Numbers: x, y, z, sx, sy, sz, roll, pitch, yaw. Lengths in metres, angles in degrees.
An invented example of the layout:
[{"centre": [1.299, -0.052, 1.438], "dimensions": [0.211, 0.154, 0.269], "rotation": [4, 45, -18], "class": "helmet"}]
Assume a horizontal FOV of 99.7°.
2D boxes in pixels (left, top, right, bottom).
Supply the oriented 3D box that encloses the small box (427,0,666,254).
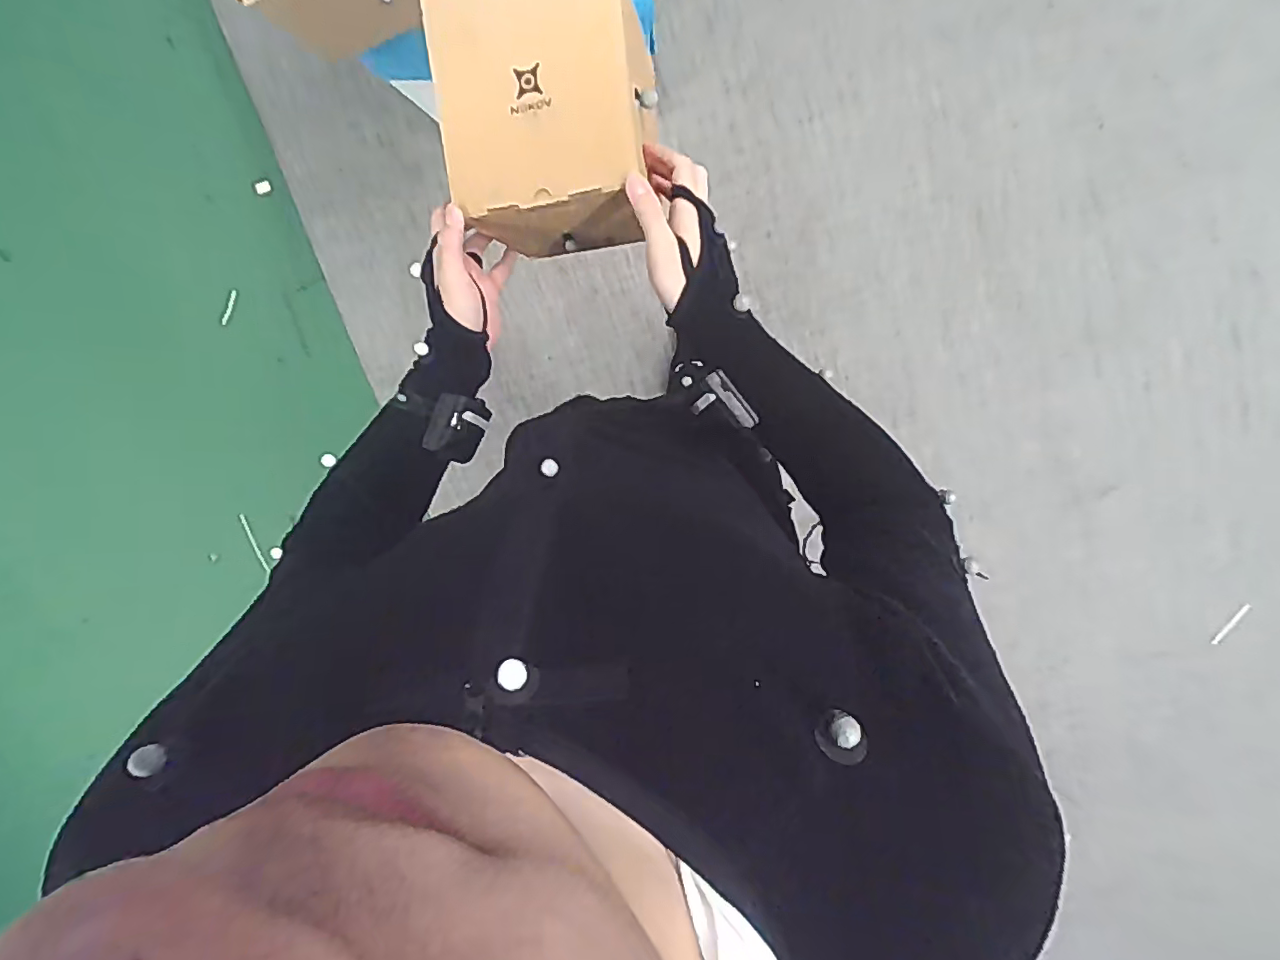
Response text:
[{"centre": [-0.072, -0.334, 0.514], "dimensions": [0.168, 0.176, 0.179], "rotation": [-4, 100, 12], "class": "small box"}]
